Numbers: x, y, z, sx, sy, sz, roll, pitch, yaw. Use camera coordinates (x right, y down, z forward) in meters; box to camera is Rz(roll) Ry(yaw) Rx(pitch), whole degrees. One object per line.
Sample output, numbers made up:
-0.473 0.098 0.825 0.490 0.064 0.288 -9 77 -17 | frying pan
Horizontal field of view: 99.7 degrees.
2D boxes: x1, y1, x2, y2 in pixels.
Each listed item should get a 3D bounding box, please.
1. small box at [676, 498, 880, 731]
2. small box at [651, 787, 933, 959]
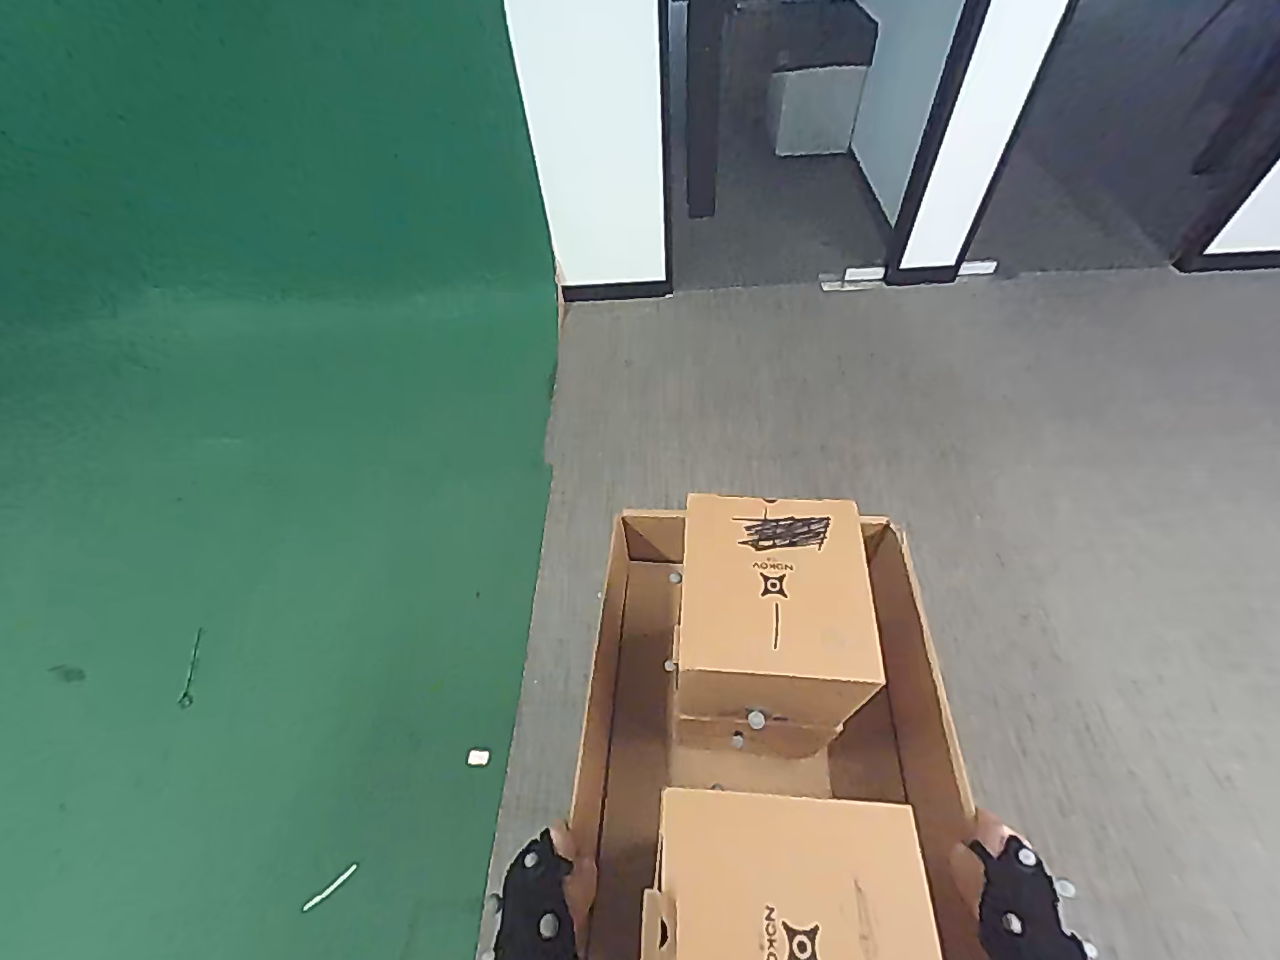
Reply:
0.125 0.140 0.553 0.168 0.176 0.179 4 56 6 | small box
0.099 0.342 0.405 0.179 0.176 0.168 2 53 4 | small box
